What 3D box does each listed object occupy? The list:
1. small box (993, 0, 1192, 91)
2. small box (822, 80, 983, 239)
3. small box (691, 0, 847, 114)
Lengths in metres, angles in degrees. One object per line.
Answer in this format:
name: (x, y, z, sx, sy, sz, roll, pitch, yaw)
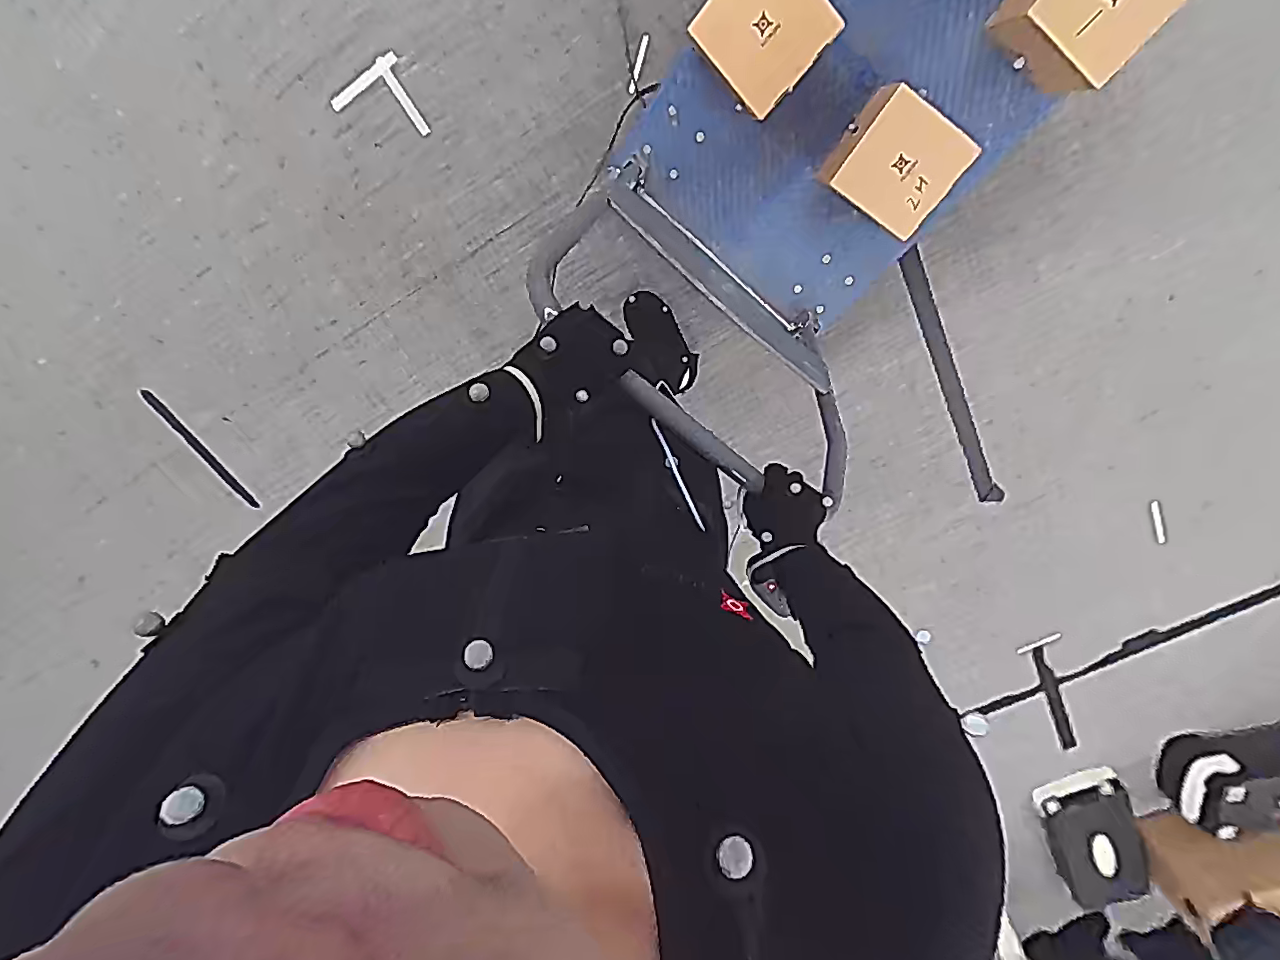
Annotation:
small box: (0.677, -0.721, 0.803, 0.168, 0.176, 0.179, 33, 124, -13)
small box: (0.445, -0.559, 0.951, 0.179, 0.176, 0.168, 31, 124, -12)
small box: (0.200, -0.730, 0.876, 0.179, 0.176, 0.168, 39, 121, -19)
